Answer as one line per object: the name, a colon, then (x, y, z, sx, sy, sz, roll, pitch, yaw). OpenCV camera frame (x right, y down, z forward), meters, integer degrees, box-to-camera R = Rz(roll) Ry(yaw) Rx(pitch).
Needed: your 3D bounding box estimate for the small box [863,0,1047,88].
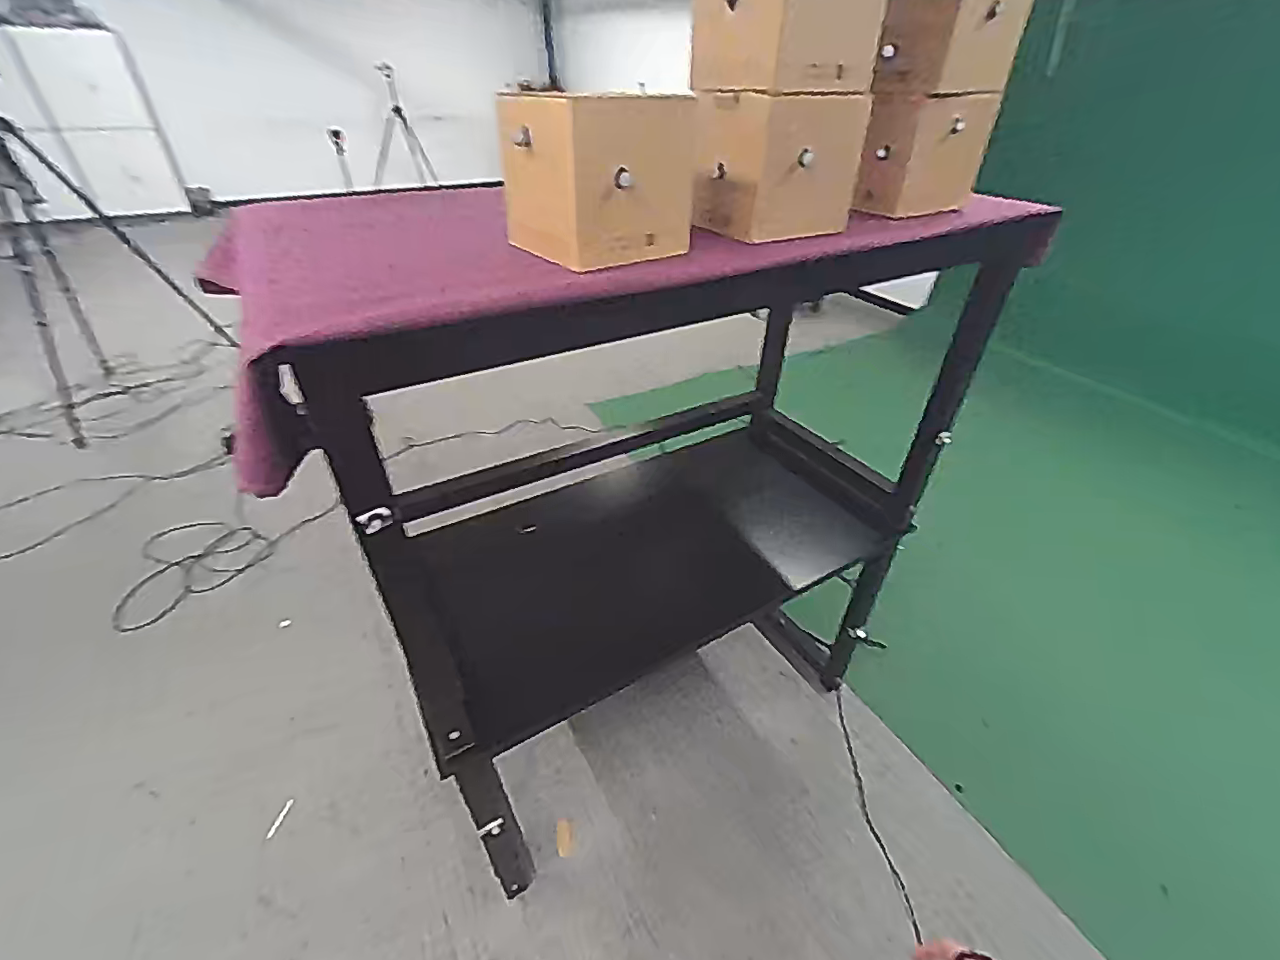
small box: (0.451, -0.669, 0.772, 0.179, 0.176, 0.168, -22, 44, -25)

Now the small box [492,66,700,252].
small box: (-0.052, -0.373, 0.628, 0.168, 0.176, 0.179, -22, 43, -28)

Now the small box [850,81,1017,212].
small box: (0.447, -0.541, 0.874, 0.179, 0.176, 0.168, -16, 41, -21)

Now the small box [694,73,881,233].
small box: (0.186, -0.447, 0.737, 0.179, 0.176, 0.168, -18, 42, -23)
